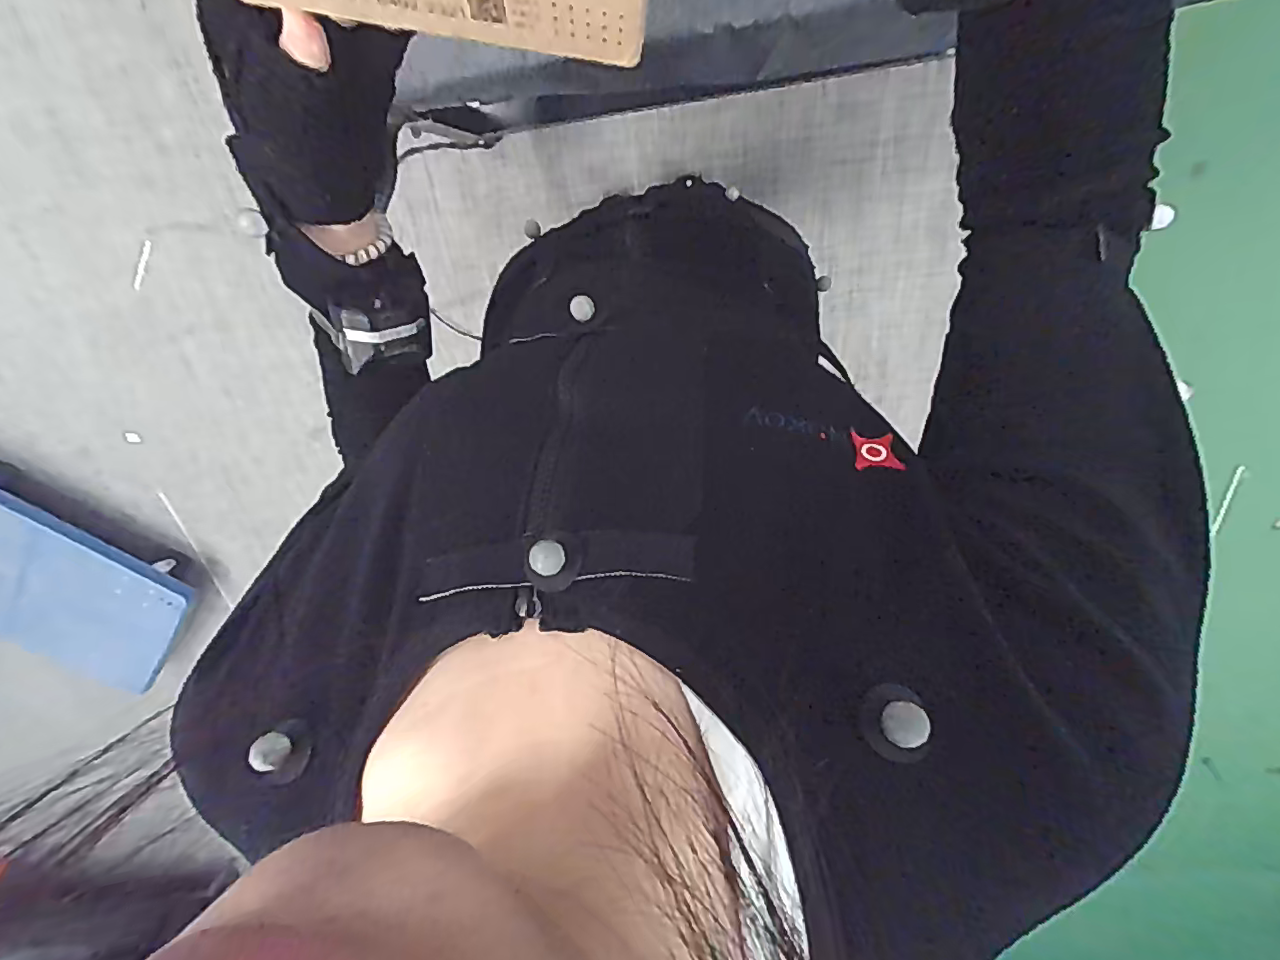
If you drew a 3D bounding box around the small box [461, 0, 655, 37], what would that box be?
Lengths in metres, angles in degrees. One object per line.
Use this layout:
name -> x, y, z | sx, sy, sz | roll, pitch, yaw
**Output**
small box -> -0.061, -0.271, 0.142 | 0.168, 0.176, 0.179 | 6, 93, -5
